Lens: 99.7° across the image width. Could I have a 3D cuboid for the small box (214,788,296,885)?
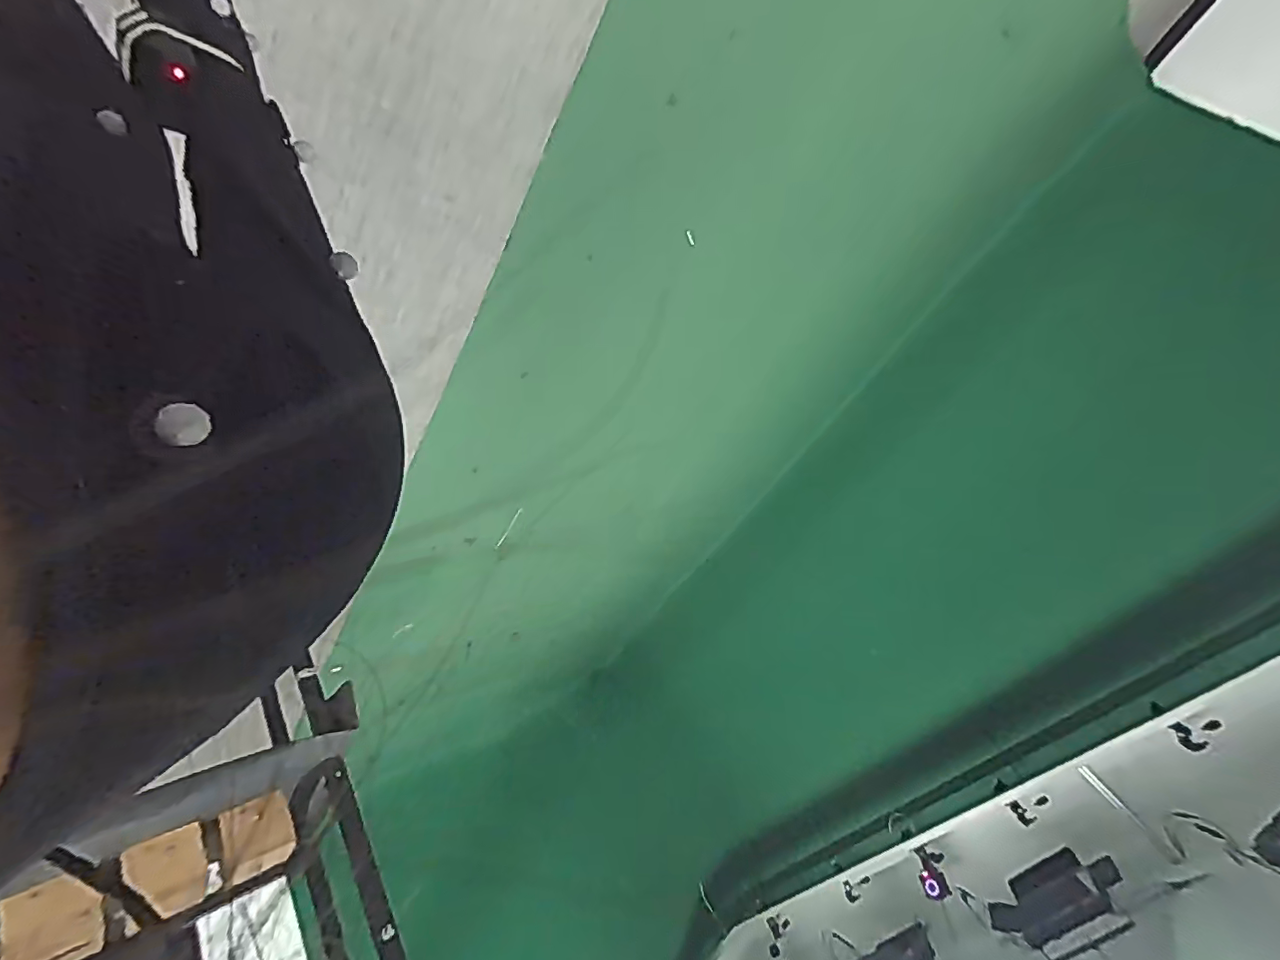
[{"bbox_3d":[-1.182,1.083,1.654,0.168,0.176,0.179,-5,139,-48],"label":"small box"}]
